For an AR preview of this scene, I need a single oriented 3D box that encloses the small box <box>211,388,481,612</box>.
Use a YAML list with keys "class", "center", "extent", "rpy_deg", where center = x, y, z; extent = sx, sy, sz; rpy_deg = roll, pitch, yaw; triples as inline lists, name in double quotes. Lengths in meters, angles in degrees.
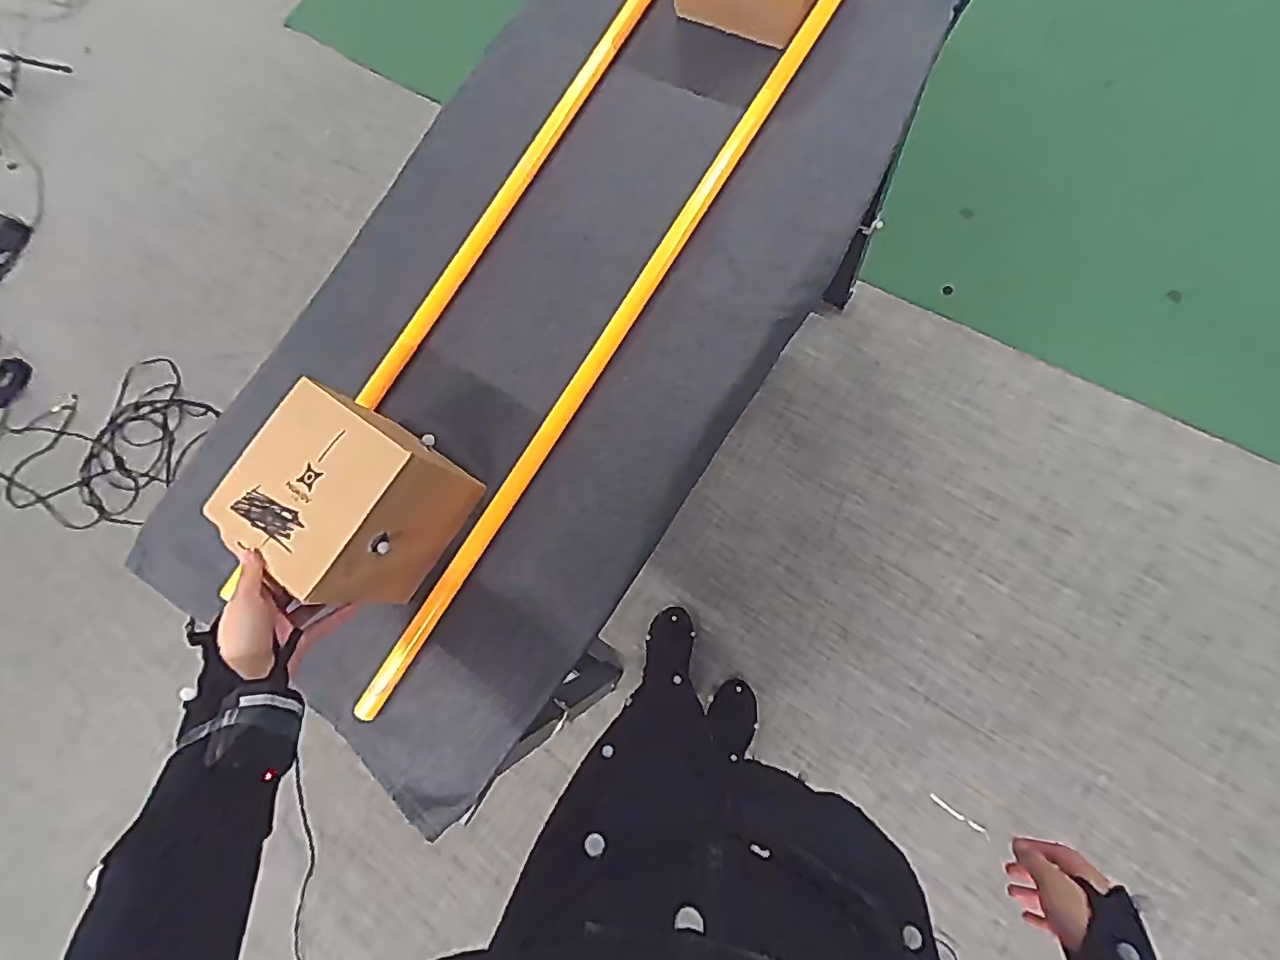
- class: "small box"
  center: [-0.315, 0.033, 0.616]
  extent: [0.168, 0.176, 0.179]
  rpy_deg: [32, 84, 15]
